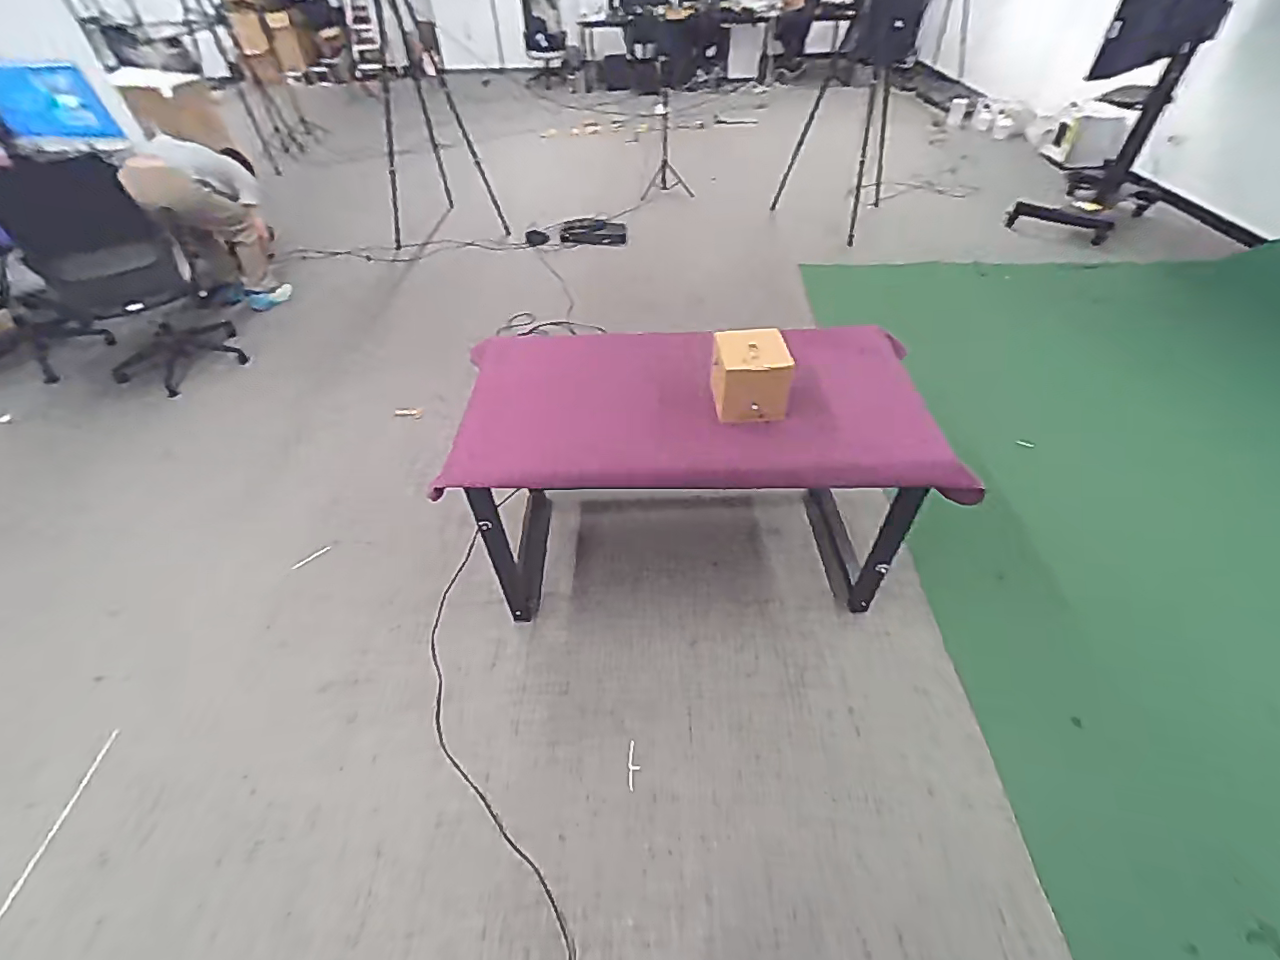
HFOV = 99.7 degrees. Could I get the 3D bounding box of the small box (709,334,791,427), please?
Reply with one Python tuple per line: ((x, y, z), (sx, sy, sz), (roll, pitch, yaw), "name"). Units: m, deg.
((0.273, -0.255, 1.387), (0.168, 0.176, 0.179), (-4, 46, -1), "small box")
